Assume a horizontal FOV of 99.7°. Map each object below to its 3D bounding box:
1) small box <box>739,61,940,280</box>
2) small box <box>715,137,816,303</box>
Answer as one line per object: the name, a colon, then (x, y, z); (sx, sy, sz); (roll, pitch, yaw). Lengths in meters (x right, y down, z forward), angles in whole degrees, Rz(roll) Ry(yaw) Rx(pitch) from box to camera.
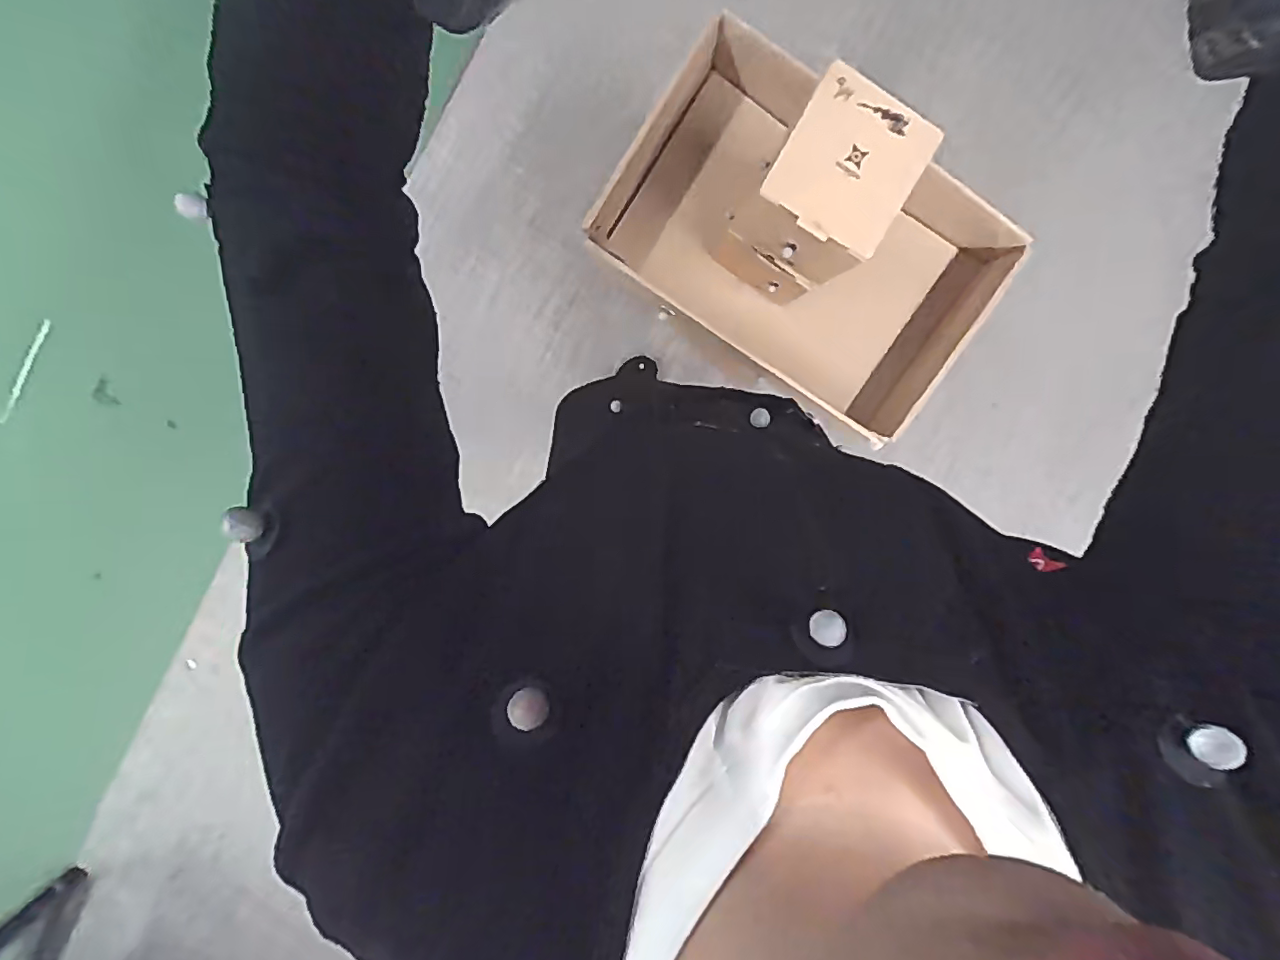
small box: (0.253, -0.399, 0.739); (0.168, 0.176, 0.179); (30, 98, -7)
small box: (0.241, -0.421, 0.901); (0.168, 0.176, 0.179); (32, 95, -7)
